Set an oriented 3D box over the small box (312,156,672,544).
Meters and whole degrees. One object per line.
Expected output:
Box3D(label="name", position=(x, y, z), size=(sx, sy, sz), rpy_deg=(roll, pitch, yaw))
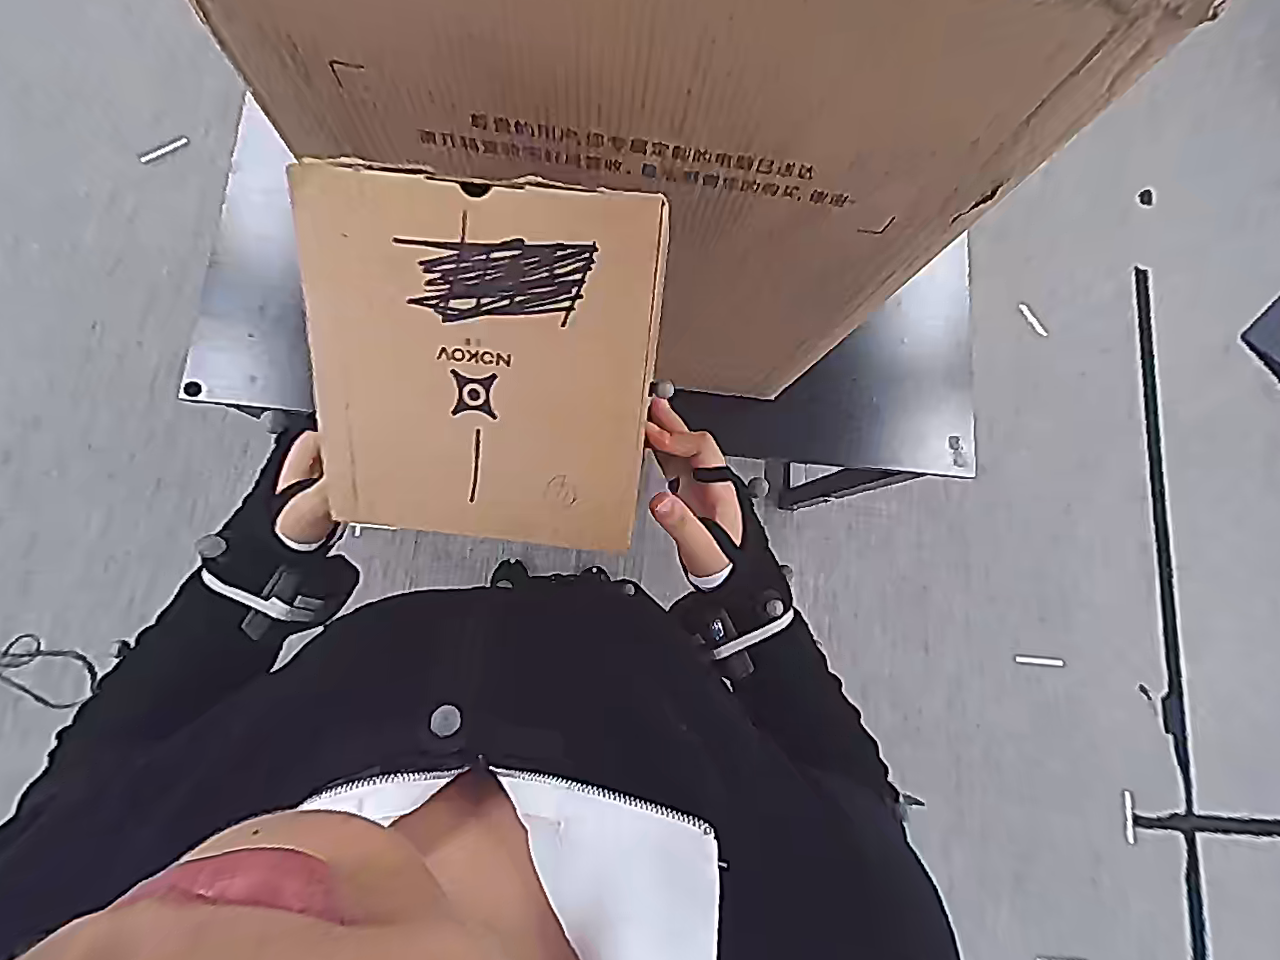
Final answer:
Box3D(label="small box", position=(-0.073, -0.080, 0.345), size=(0.168, 0.176, 0.179), rpy_deg=(6, 108, 1))
